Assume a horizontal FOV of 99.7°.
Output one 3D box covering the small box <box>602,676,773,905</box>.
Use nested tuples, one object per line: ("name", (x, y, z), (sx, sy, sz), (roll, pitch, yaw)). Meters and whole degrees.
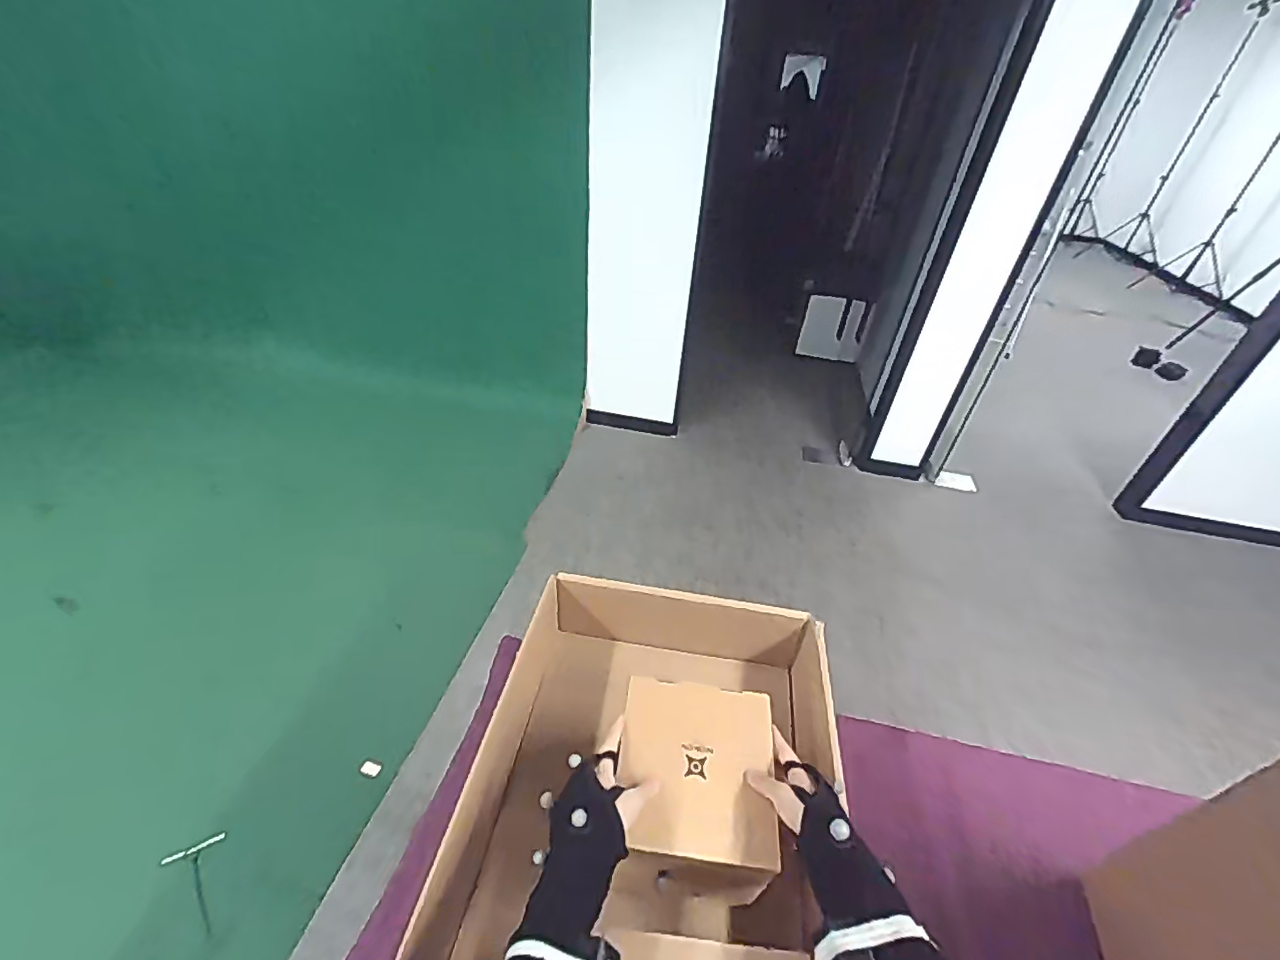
("small box", (0.053, 0.356, 0.621), (0.168, 0.176, 0.179), (6, 40, 4))
